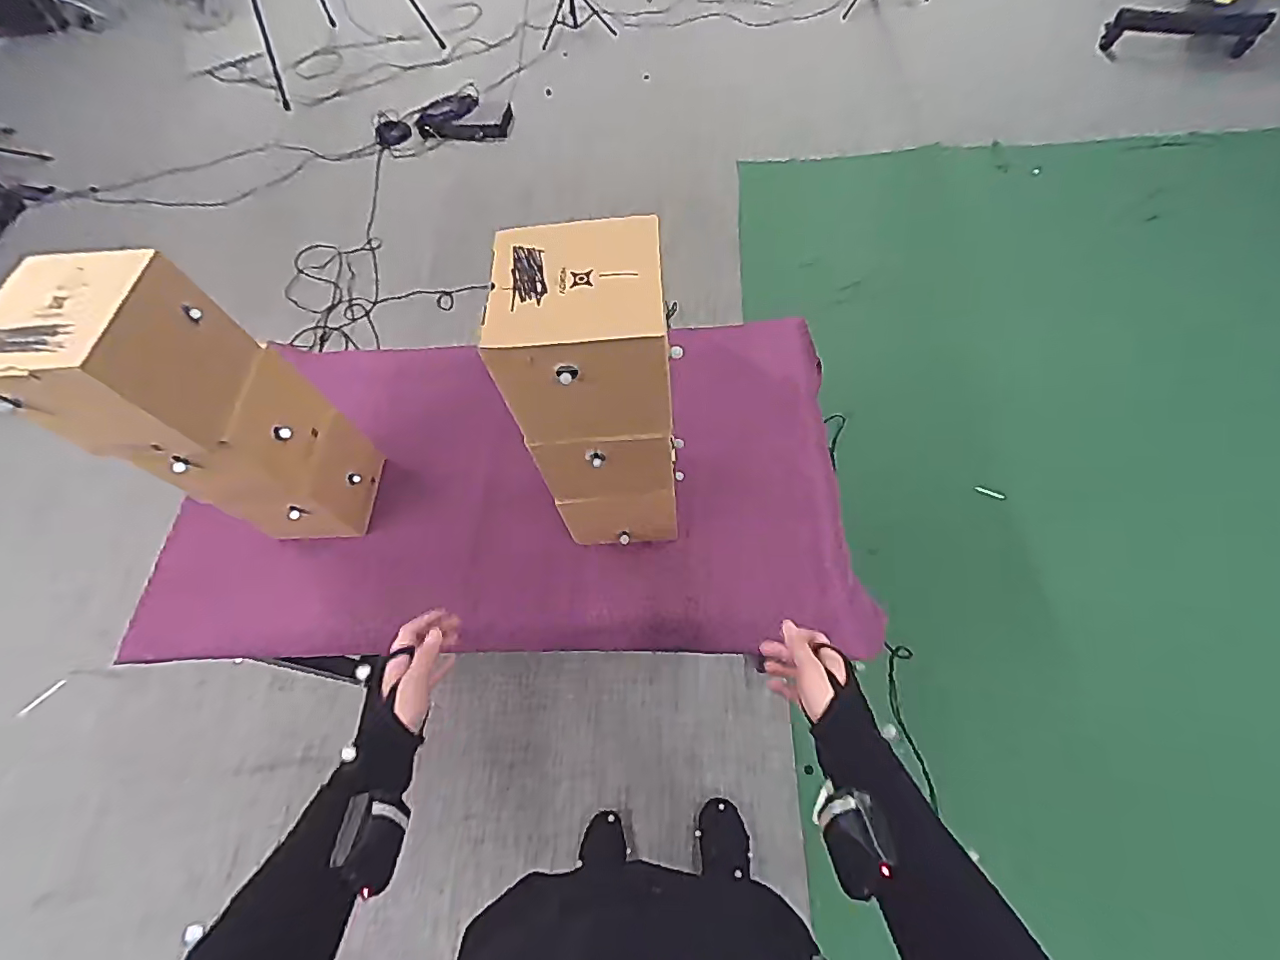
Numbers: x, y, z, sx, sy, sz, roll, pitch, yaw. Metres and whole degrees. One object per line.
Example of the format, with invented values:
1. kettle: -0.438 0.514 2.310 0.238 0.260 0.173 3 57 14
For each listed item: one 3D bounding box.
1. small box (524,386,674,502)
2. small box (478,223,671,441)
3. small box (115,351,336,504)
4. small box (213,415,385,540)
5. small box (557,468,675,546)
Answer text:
1. small box: -0.046 -0.077 0.752 0.179 0.176 0.168 -3 62 5
2. small box: -0.059 -0.155 0.608 0.179 0.176 0.168 -3 63 4
3. small box: -0.598 -0.072 0.811 0.179 0.176 0.168 -3 62 5
4. small box: -0.583 0.001 0.954 0.179 0.176 0.168 -2 61 5
5. small box: -0.031 0.001 0.895 0.179 0.176 0.168 -4 61 4
